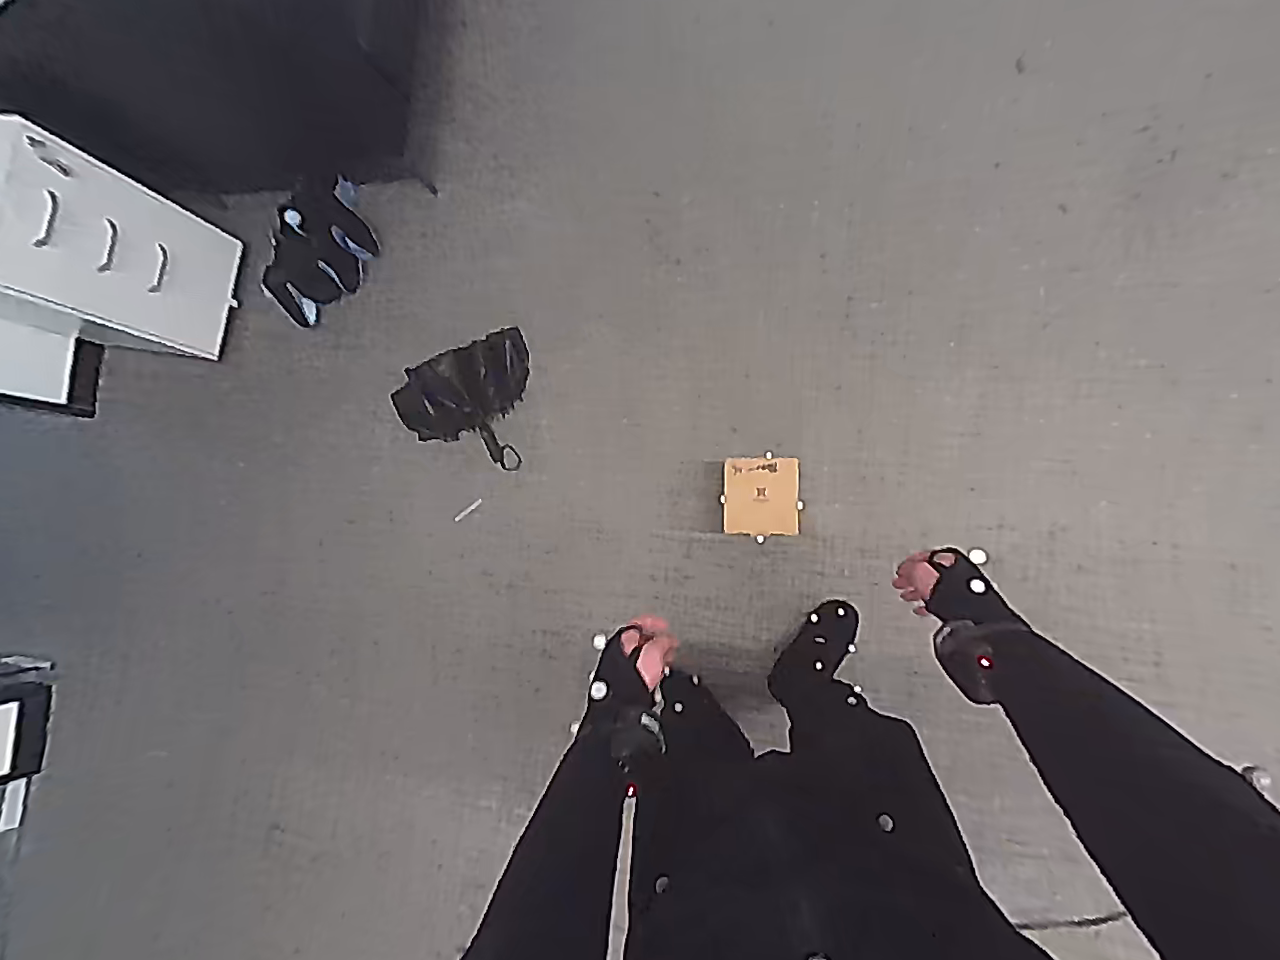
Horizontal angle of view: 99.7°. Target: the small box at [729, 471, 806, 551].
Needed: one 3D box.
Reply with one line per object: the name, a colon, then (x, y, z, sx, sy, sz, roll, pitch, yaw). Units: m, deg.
small box: (0.302, 0.075, 1.279, 0.168, 0.176, 0.179, 1, 84, 13)
